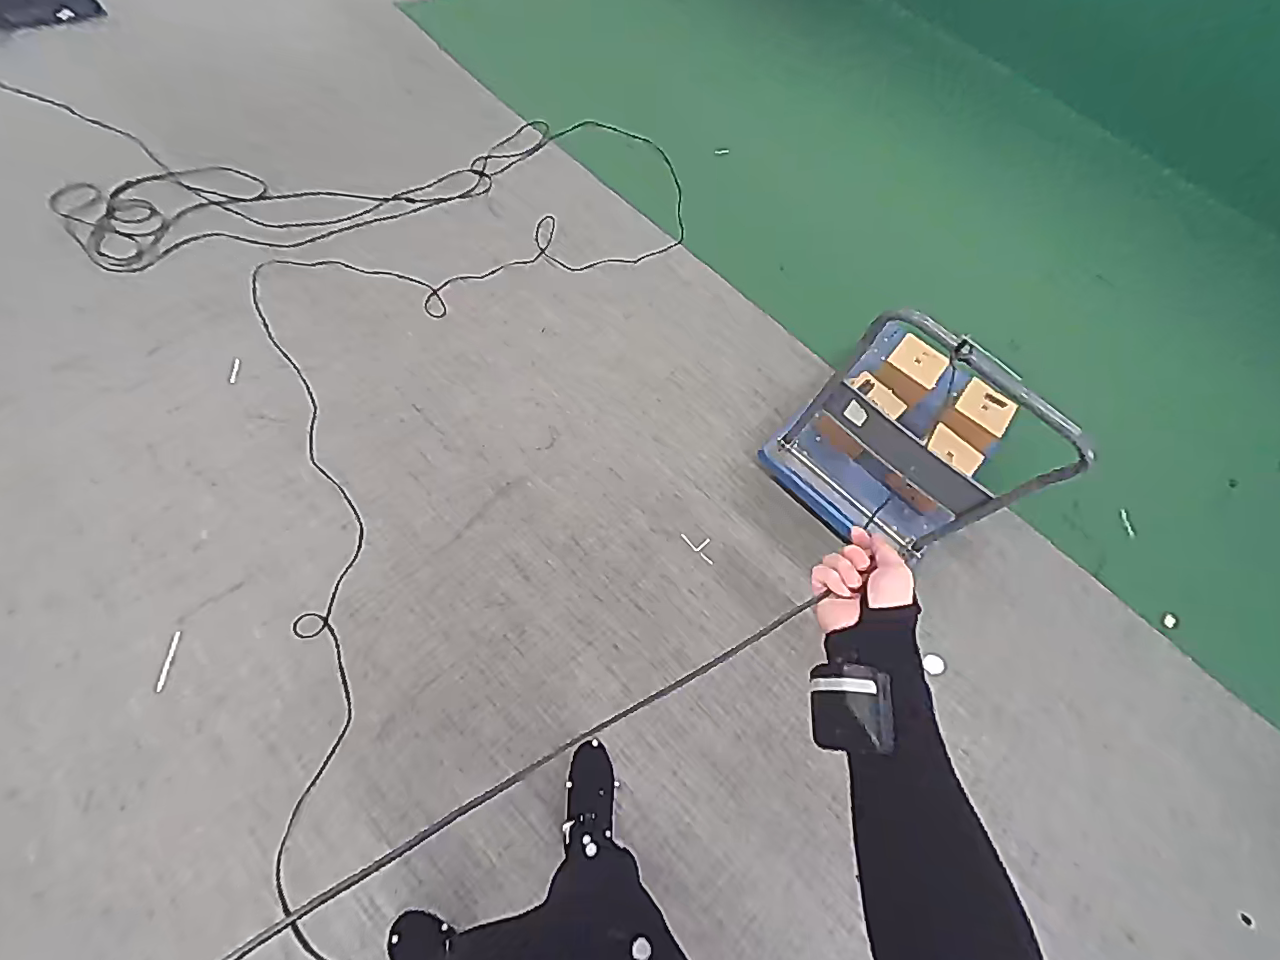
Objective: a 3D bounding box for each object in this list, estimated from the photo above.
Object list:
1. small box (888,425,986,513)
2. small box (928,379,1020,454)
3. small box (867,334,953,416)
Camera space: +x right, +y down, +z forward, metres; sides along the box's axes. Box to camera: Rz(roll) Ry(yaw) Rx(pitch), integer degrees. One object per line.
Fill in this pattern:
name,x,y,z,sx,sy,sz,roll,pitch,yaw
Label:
small box,0.906,-0.032,1.667,0.179,0.176,0.168,-40,76,-24
small box,1.092,-0.191,1.780,0.168,0.176,0.179,40,65,11
small box,0.902,-0.350,1.826,0.168,0.176,0.179,41,64,10
